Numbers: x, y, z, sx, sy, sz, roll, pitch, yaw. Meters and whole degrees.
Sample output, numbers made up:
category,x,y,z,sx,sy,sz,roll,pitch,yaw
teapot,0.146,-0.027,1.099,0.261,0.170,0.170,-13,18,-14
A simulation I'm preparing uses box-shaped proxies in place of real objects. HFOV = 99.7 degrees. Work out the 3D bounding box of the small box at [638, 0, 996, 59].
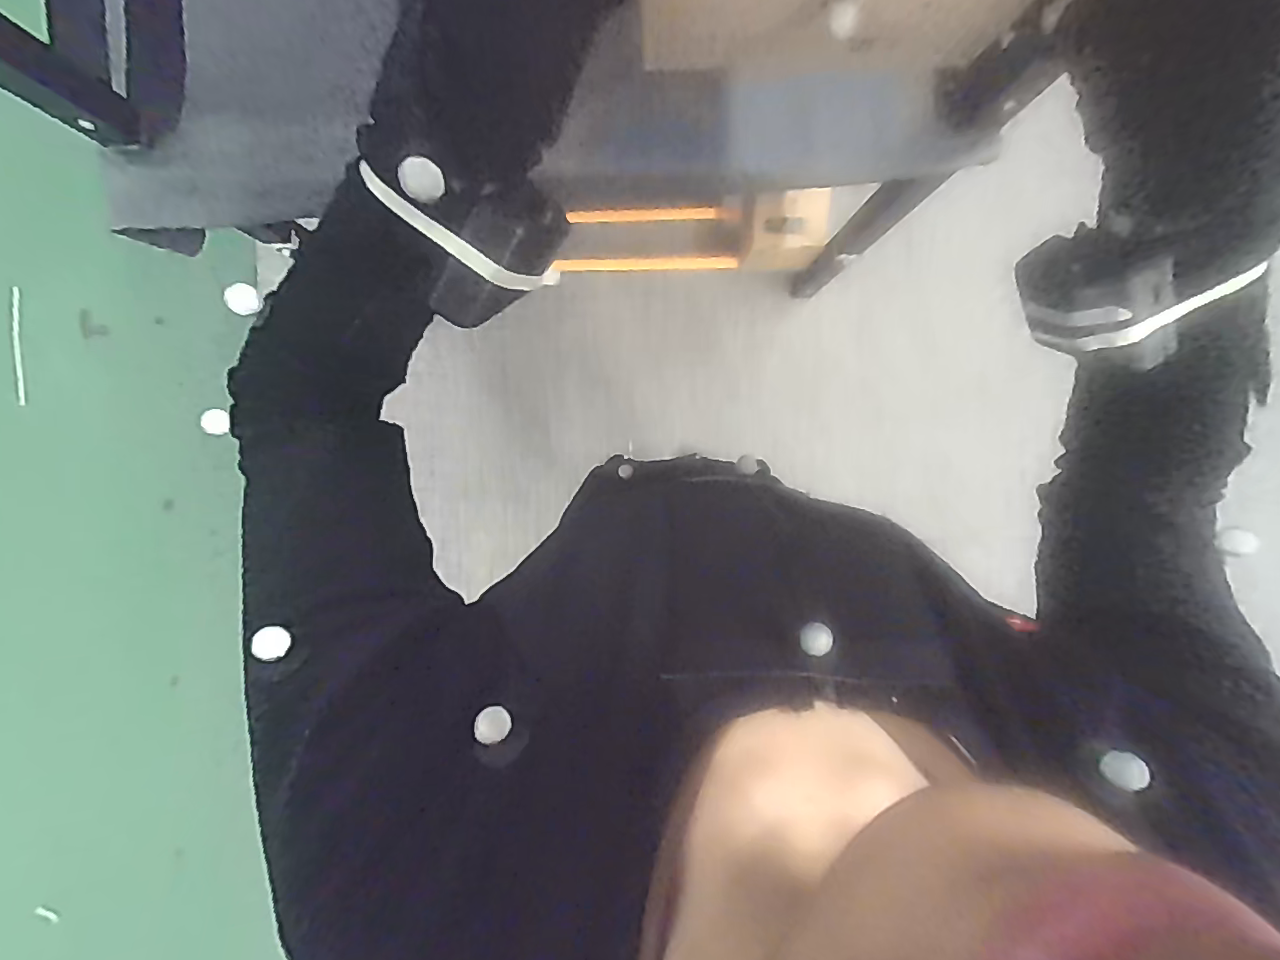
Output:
category,x,y,z,sx,sy,sz,roll,pitch,yaw
small box,0.079,-0.286,0.179,0.168,0.176,0.179,1,102,1
